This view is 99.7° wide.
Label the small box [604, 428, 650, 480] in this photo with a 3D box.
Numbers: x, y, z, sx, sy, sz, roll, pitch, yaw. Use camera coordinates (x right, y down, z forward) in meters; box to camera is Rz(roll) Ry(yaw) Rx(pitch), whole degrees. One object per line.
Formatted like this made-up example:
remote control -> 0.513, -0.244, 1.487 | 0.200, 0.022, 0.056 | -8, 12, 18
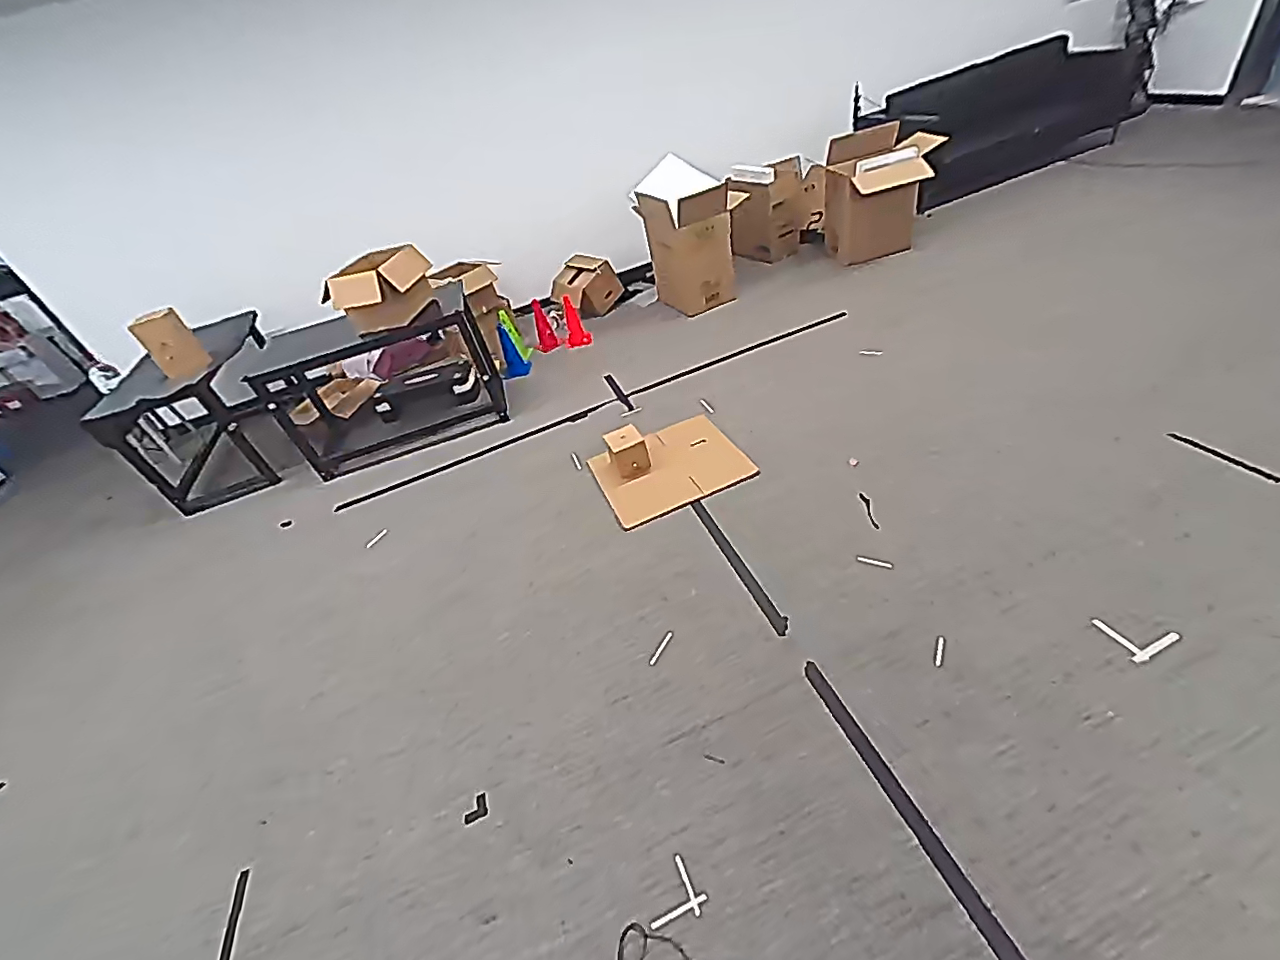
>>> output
small box -> -0.065, -0.128, 2.717 | 0.168, 0.176, 0.179 | -24, 39, -9
